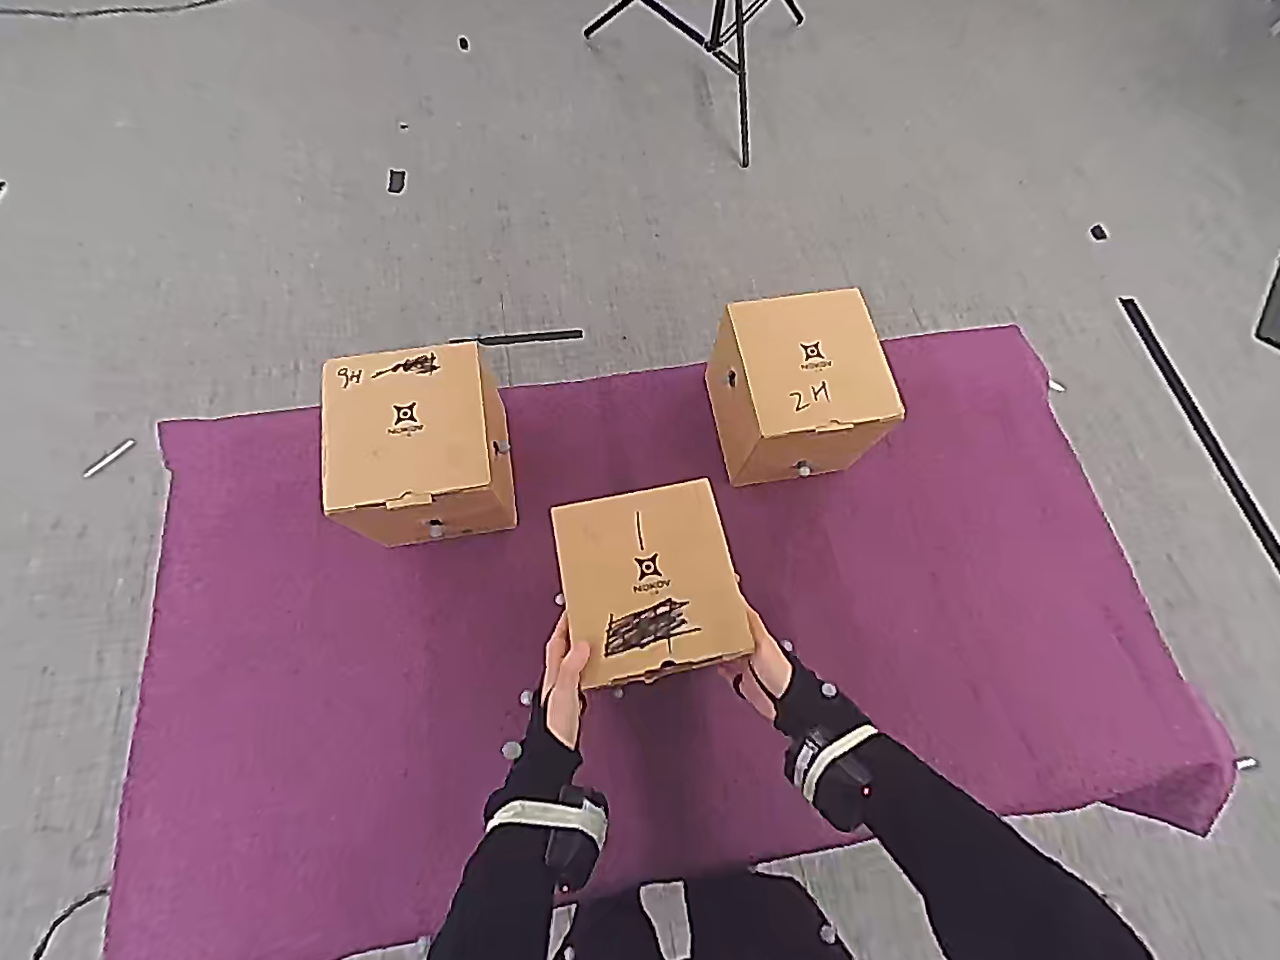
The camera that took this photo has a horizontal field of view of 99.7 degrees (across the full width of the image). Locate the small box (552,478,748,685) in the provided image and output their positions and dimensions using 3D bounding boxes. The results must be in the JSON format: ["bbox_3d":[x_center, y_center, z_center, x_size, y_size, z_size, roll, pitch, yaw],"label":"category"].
[{"bbox_3d":[0.006,0.119,0.594,0.168,0.176,0.179,-10,69,-5],"label":"small box"}]

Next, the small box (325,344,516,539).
[{"bbox_3d":[-0.248,-0.034,0.642,0.168,0.176,0.179,-9,72,-6],"label":"small box"}]

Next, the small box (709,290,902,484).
[{"bbox_3d":[0.191,-0.111,0.688,0.168,0.176,0.179,-9,71,-5],"label":"small box"}]
